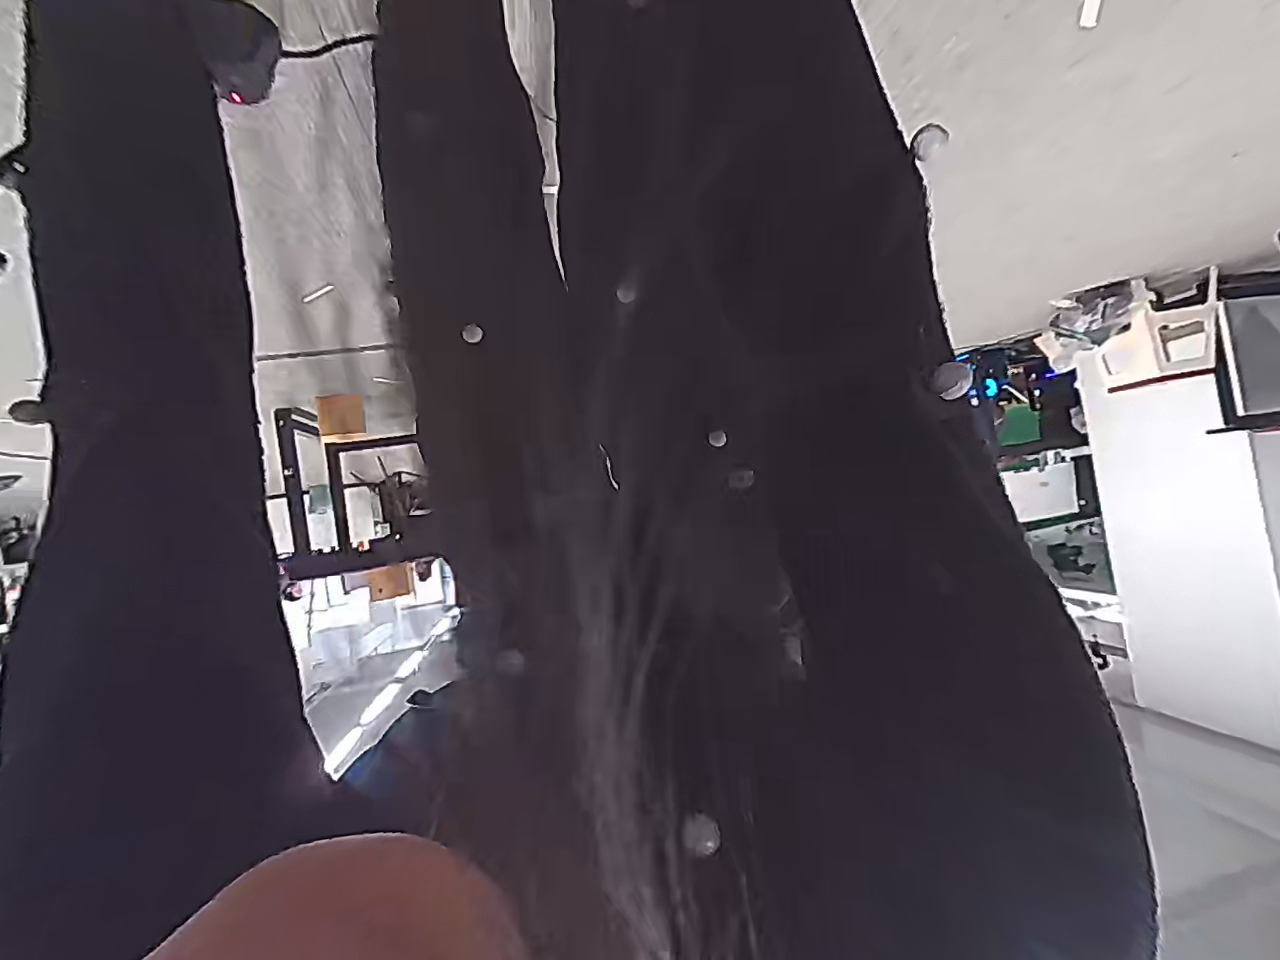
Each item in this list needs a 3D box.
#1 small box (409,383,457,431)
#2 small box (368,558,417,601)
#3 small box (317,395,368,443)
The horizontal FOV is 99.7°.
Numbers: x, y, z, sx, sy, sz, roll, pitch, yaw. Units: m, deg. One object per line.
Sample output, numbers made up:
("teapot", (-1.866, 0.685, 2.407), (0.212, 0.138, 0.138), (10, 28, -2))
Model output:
("small box", (-0.912, -0.322, 2.383), (0.179, 0.176, 0.168), (-8, 178, -16))
("small box", (-1.174, 0.466, 2.562), (0.179, 0.176, 0.168), (-9, 179, -14))
("small box", (-1.284, -0.265, 2.330), (0.179, 0.176, 0.168), (-9, 178, -29))
